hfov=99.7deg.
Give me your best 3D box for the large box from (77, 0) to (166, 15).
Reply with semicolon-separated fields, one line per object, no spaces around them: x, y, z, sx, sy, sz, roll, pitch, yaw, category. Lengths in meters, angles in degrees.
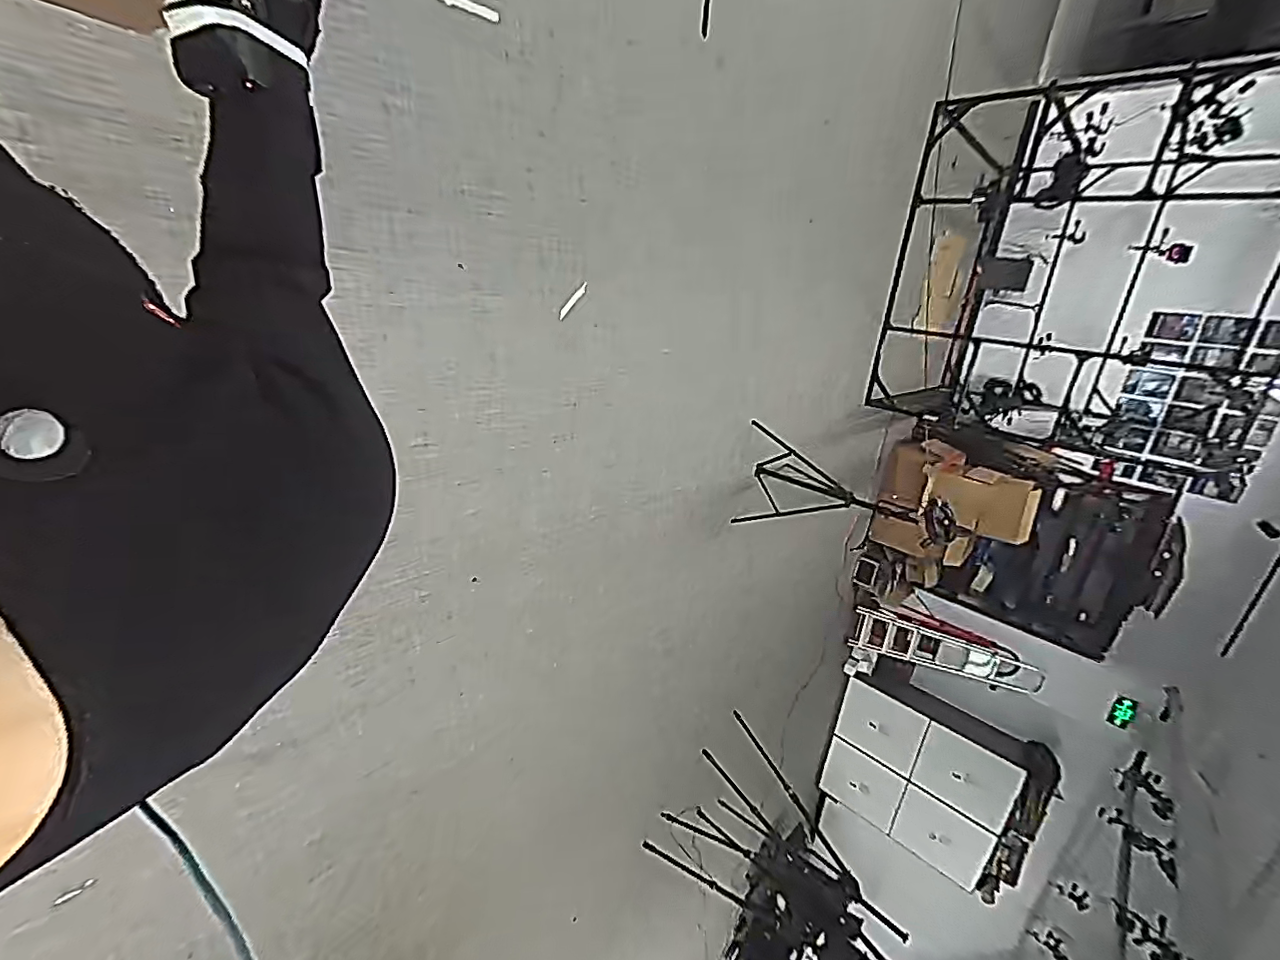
-0.510;-0.513;0.265;0.408;0.320;0.320;-14;125;-47;large box
